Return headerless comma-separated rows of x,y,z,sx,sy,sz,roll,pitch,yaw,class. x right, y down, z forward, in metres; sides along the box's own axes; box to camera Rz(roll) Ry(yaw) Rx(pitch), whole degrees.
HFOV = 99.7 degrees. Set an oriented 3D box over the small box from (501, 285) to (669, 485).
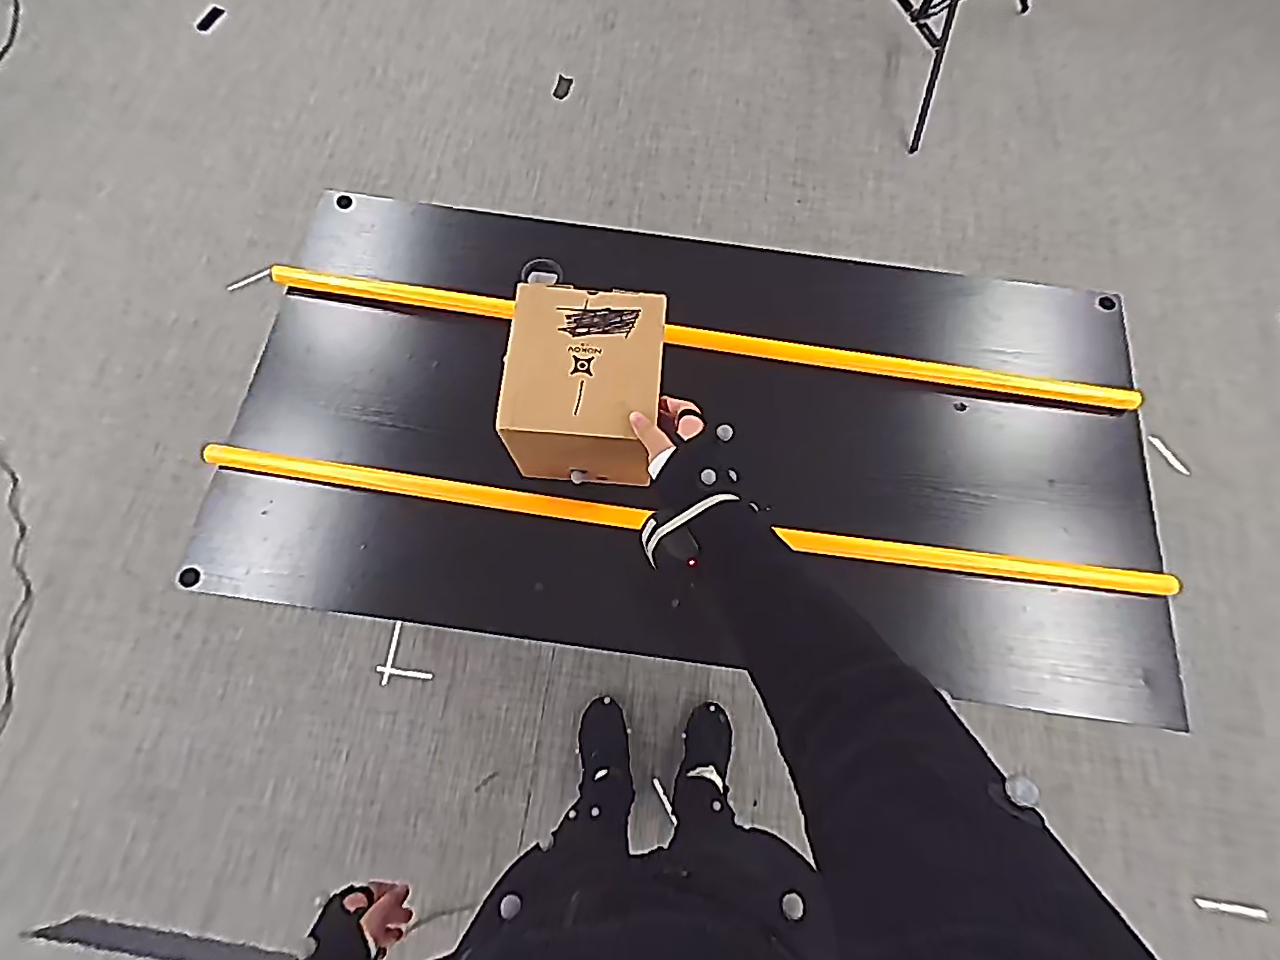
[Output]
-0.059,-0.106,0.656,0.168,0.176,0.179,4,73,0,small box
